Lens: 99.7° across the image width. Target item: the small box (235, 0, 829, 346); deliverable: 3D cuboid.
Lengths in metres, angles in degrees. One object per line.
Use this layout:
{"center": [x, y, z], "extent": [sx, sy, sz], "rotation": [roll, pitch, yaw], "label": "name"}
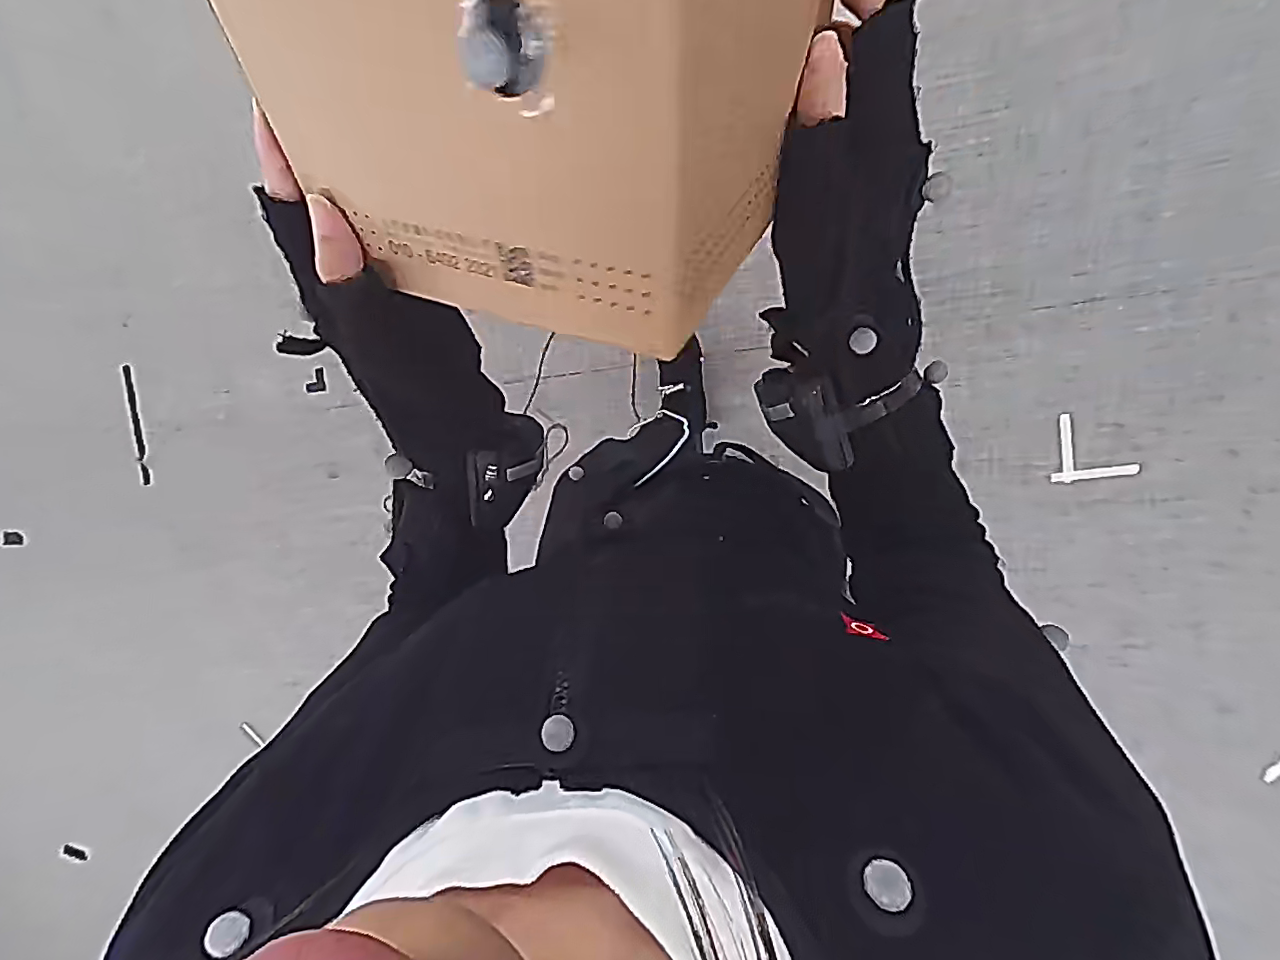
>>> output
{"center": [-0.027, -0.179, 0.211], "extent": [0.168, 0.179, 0.176], "rotation": [22, 145, 20], "label": "small box"}
